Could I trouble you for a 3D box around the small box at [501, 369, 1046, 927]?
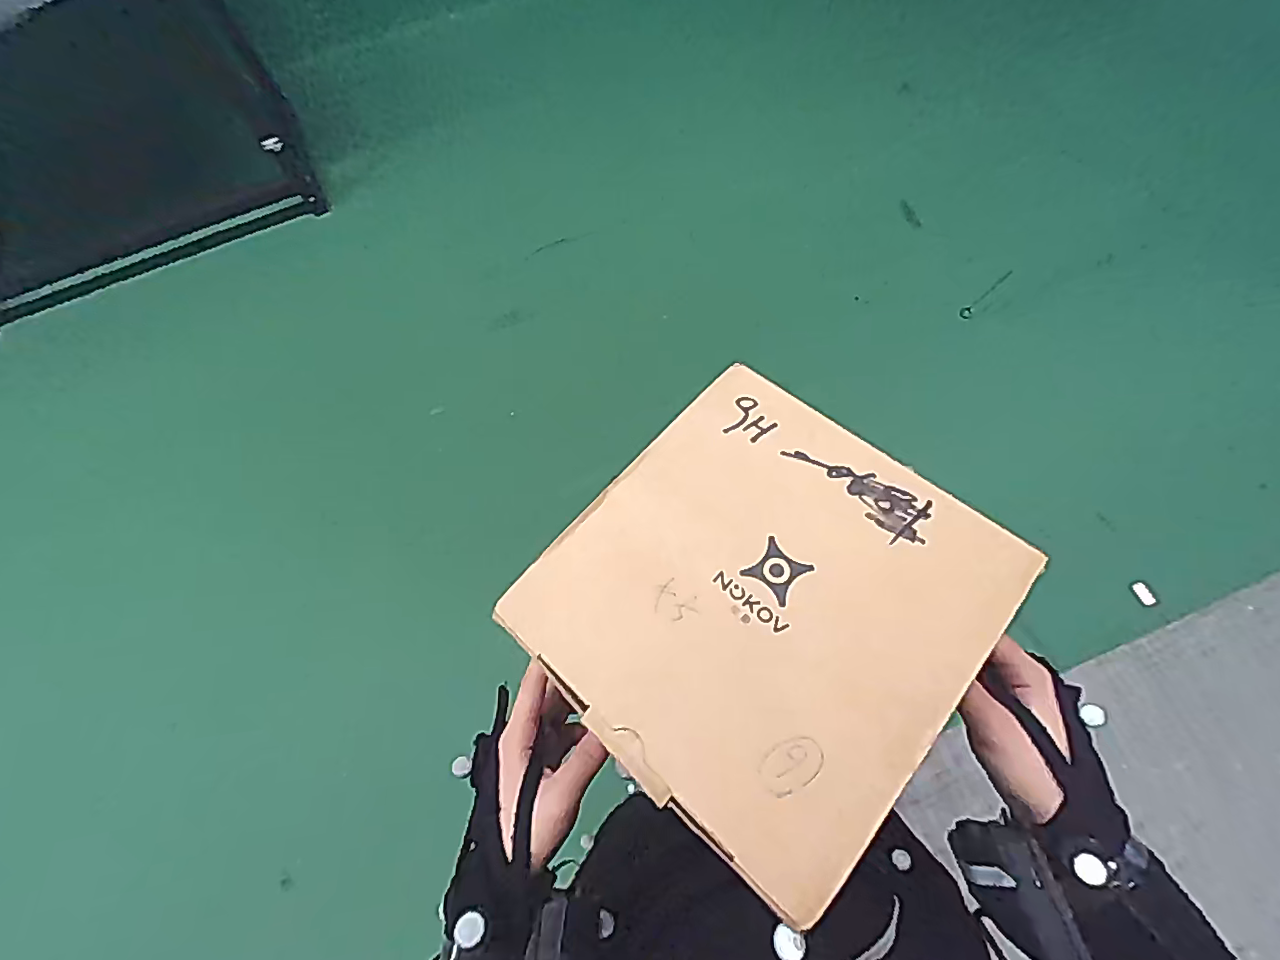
[{"bbox_3d":[0.062,0.081,0.302,0.168,0.176,0.179,39,74,21],"label":"small box"}]
